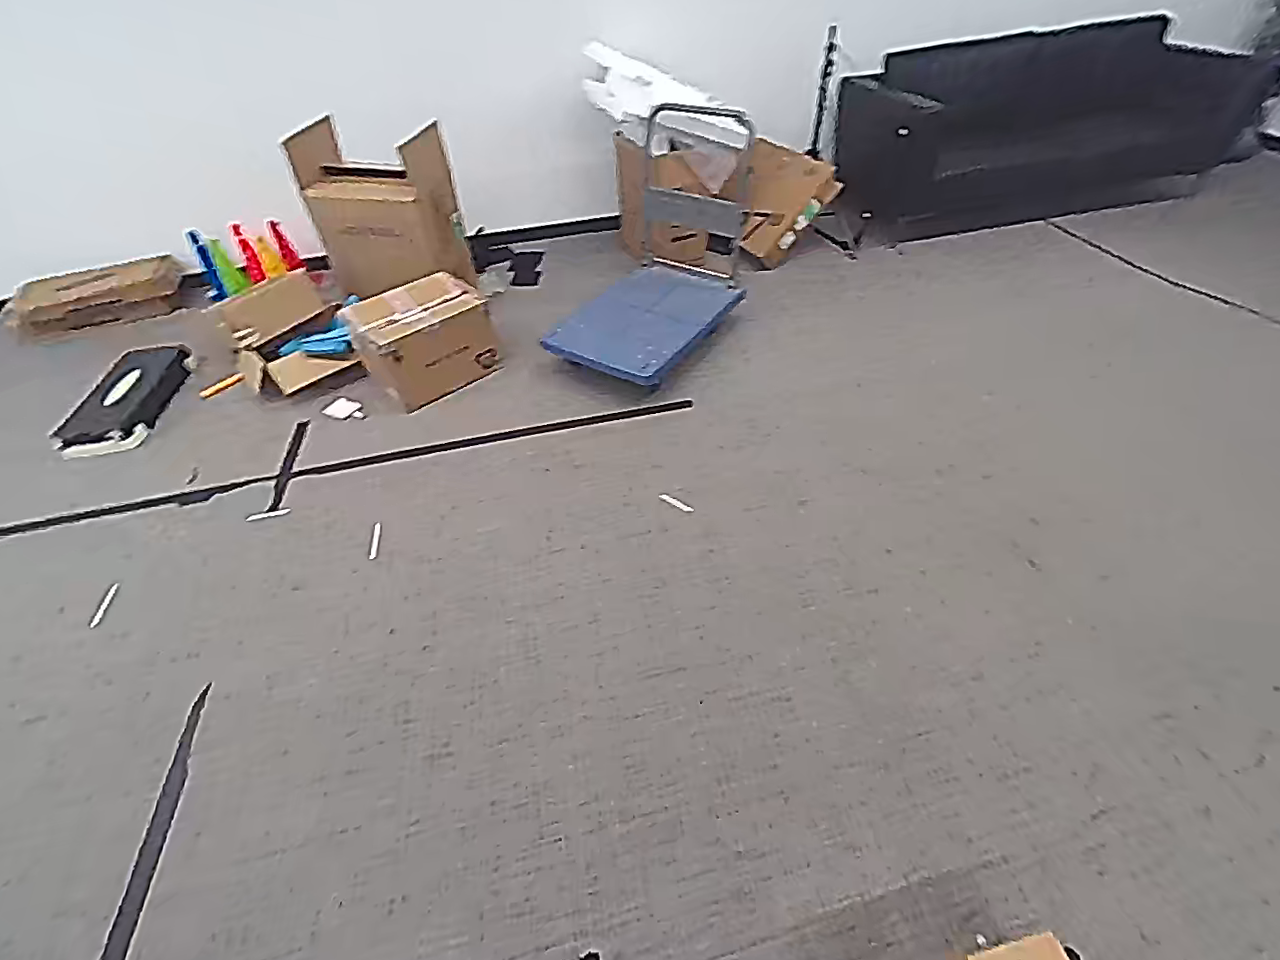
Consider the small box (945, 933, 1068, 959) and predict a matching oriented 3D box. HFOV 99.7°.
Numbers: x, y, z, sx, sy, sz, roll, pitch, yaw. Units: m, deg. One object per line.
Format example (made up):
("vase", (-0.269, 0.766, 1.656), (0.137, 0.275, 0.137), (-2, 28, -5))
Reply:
("small box", (0.650, 0.906, 0.916), (0.168, 0.176, 0.179), (-11, 45, -6))
